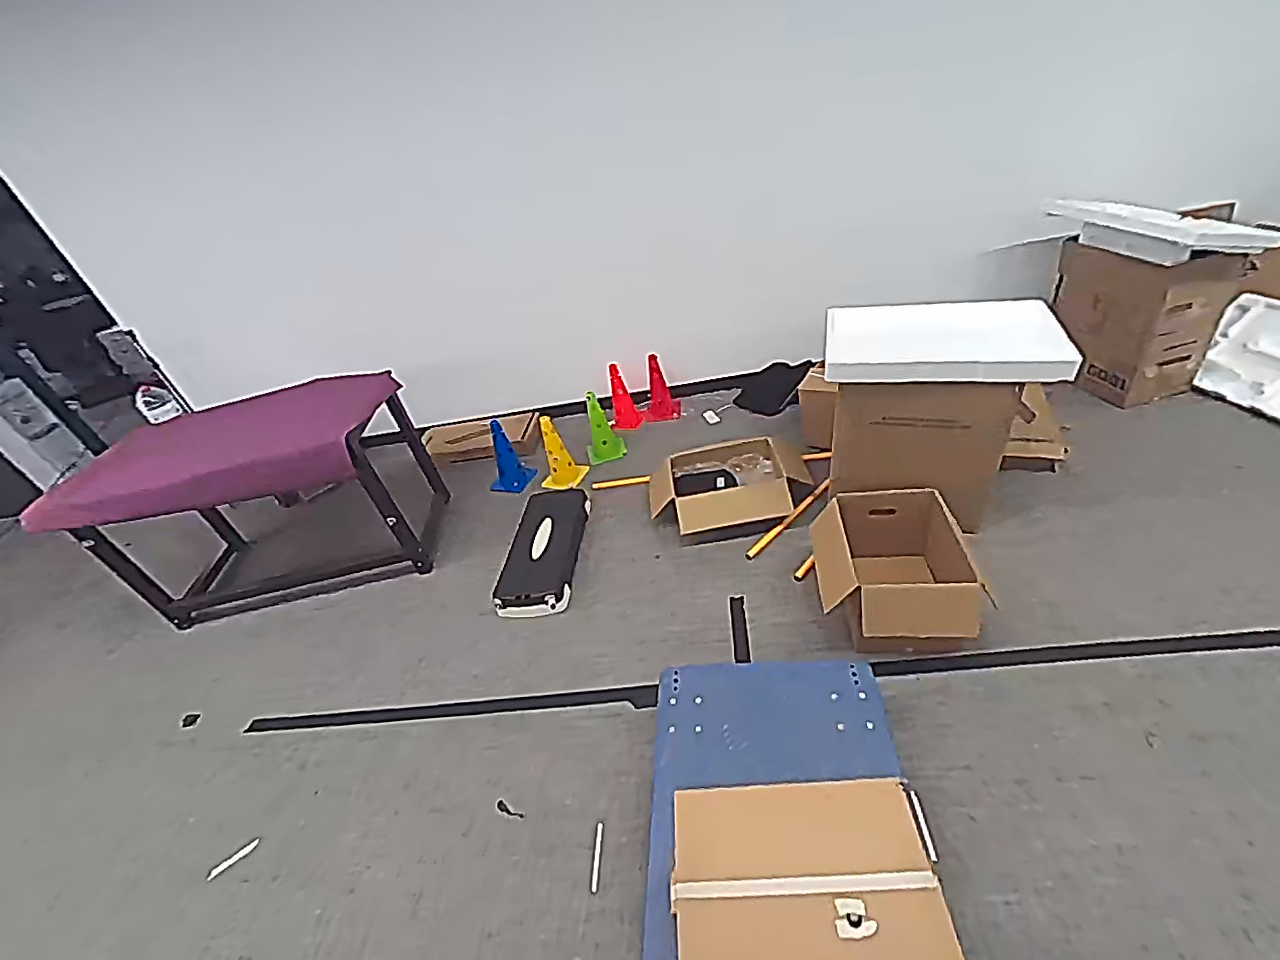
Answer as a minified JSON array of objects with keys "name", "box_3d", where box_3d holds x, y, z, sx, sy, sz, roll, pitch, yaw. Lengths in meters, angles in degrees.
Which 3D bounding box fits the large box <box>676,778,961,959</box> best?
[{"name":"large box","box_3d":[0.286,0.769,0.950,0.408,0.320,0.320,-7,36,7]}]
